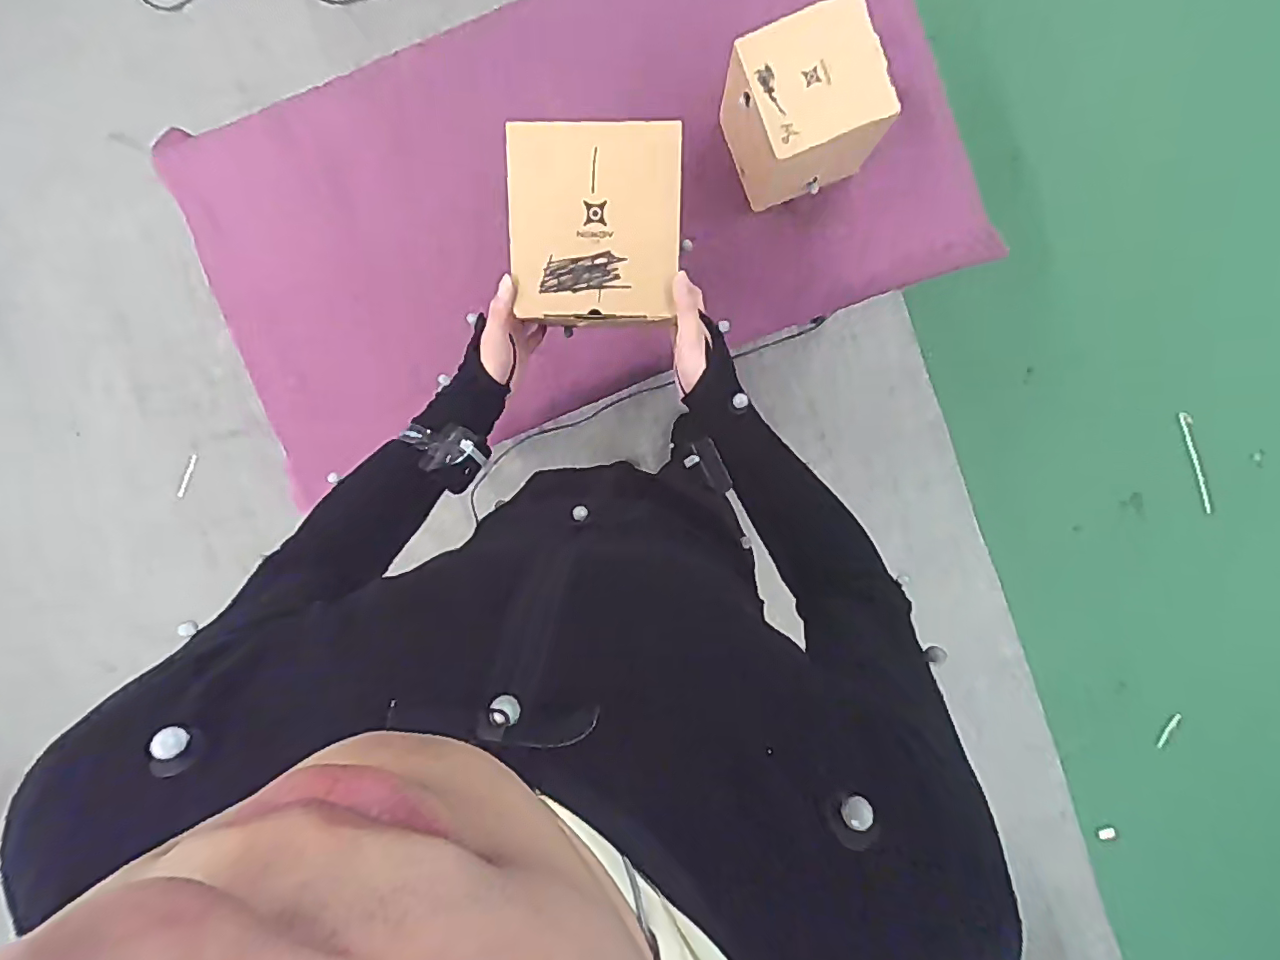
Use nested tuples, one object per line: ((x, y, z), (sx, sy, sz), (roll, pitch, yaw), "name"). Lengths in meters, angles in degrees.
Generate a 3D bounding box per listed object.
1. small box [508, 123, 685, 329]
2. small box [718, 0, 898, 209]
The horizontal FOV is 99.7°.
((-0.038, -0.258, 0.588), (0.168, 0.176, 0.179), (1, 102, 1), "small box")
((0.229, -0.530, 0.780), (0.179, 0.176, 0.168), (-21, 93, 2), "small box")
